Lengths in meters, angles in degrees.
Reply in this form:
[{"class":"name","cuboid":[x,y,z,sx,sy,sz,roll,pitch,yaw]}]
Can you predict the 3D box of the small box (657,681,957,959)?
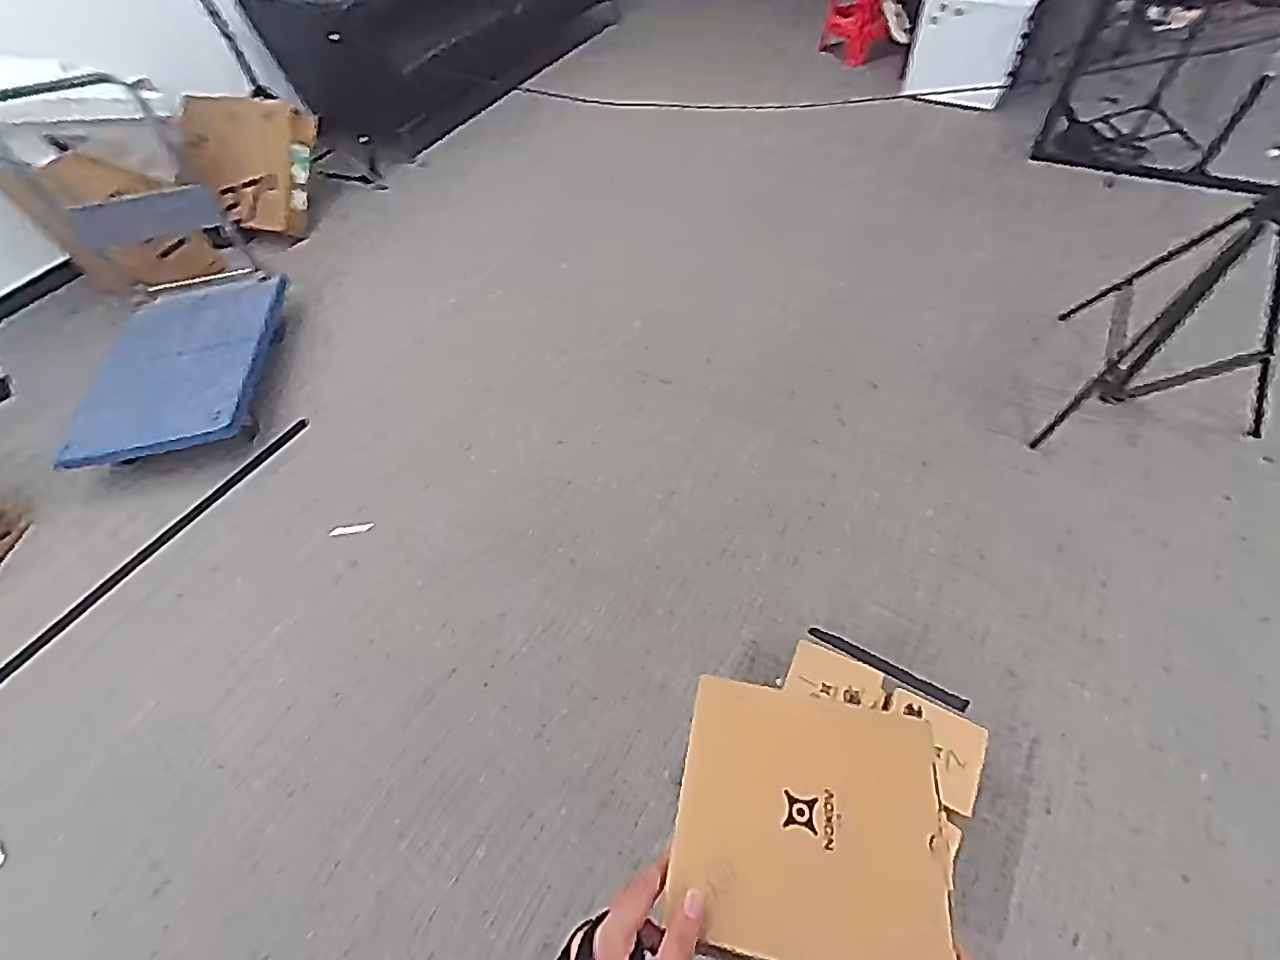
[{"class":"small box","cuboid":[0.118,0.284,0.424,0.179,0.176,0.168,7,49,11]}]
